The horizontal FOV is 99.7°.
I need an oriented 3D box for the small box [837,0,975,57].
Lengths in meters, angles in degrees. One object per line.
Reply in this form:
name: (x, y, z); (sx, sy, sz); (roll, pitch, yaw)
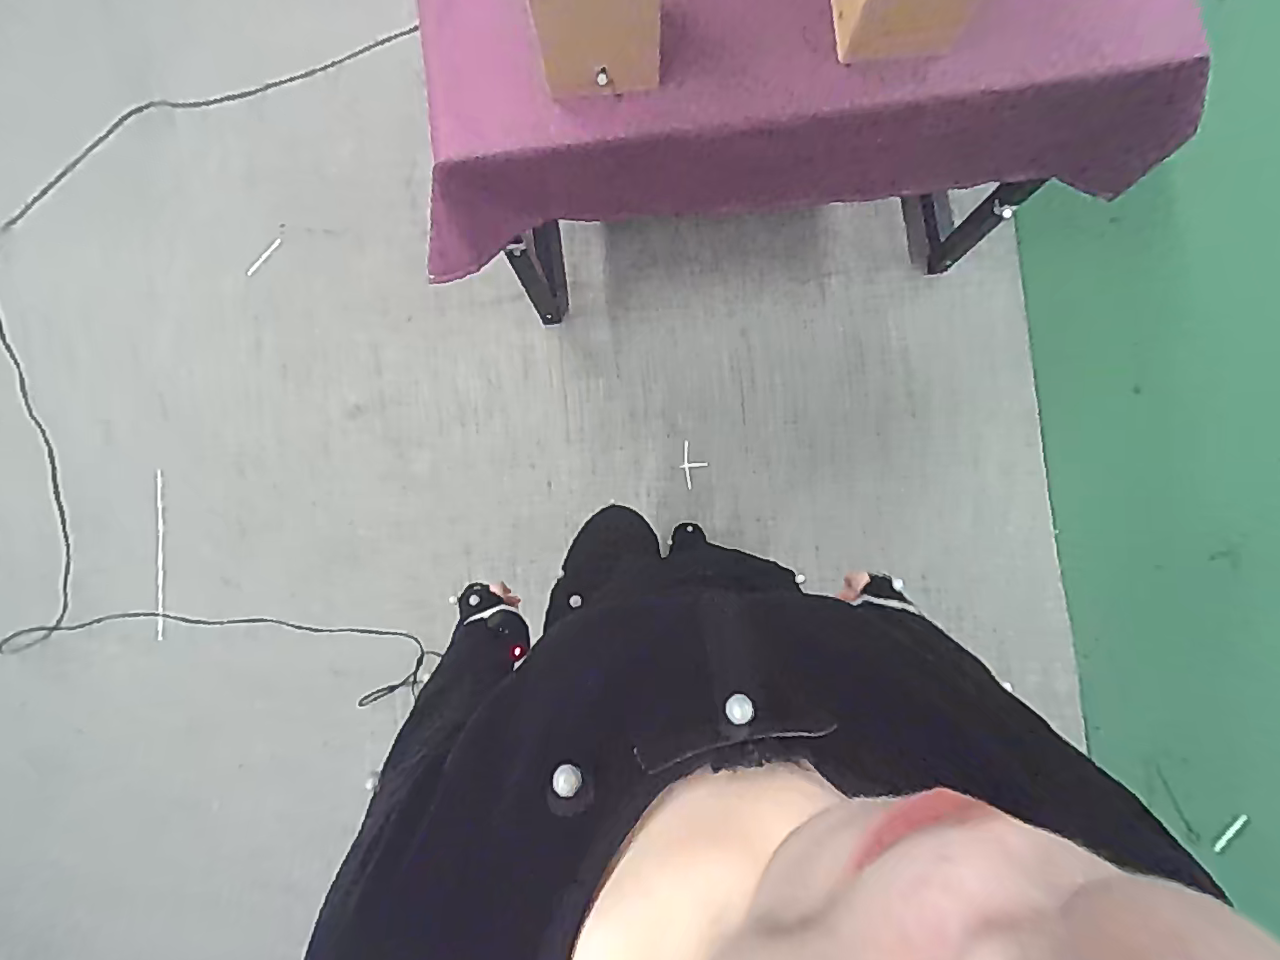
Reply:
small box: (0.386, -0.744, 0.765); (0.179, 0.176, 0.168); (-4, 85, 1)

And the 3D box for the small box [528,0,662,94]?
small box: (-0.063, -0.696, 0.774); (0.179, 0.176, 0.168); (-5, 84, 1)
